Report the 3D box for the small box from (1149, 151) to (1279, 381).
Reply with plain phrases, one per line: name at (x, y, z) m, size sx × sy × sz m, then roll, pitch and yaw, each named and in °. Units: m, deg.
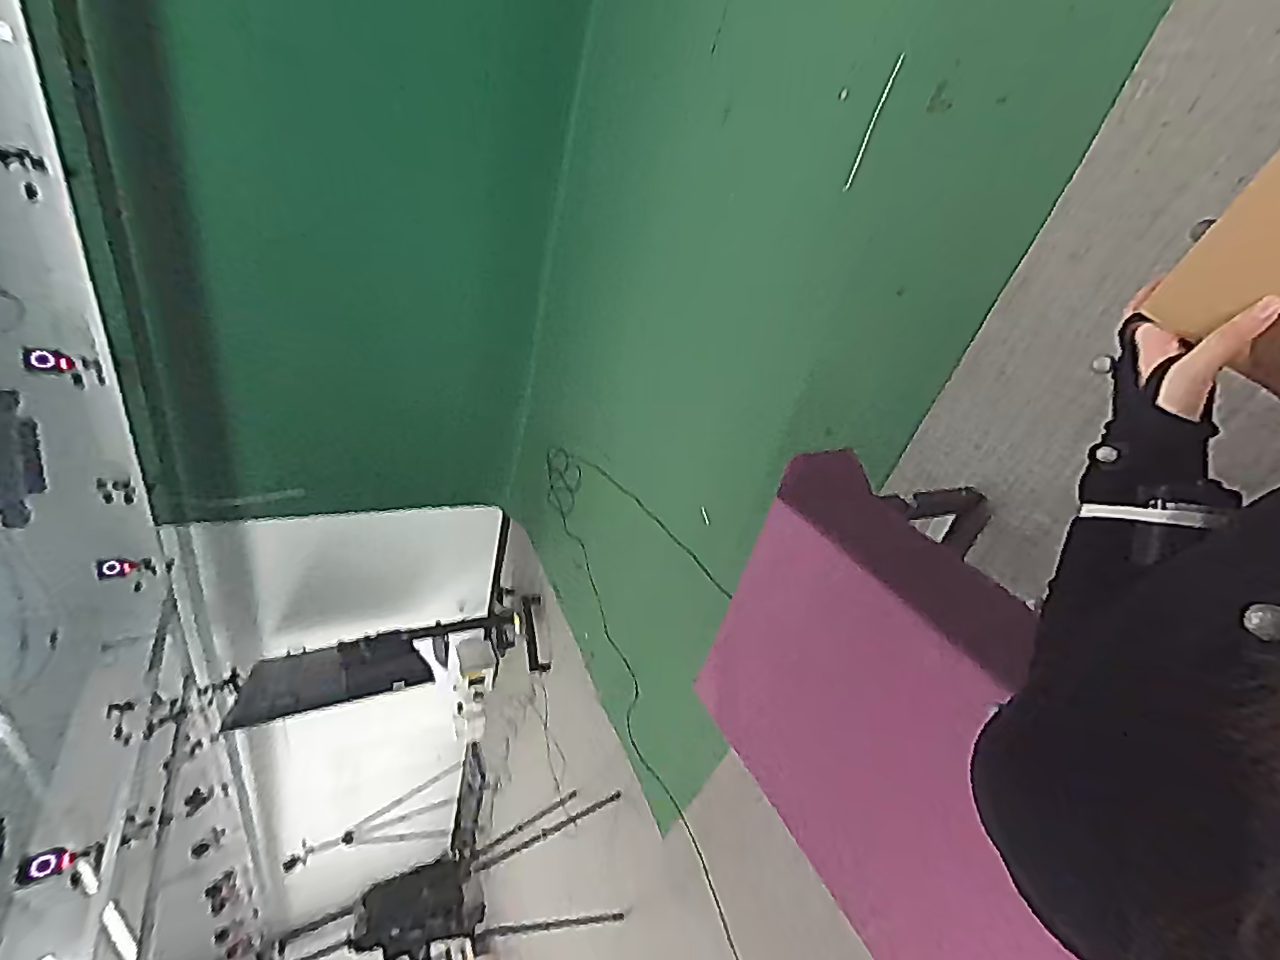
small box at (0.490, -0.160, 0.318) m, size 0.168 × 0.176 × 0.179 m, roll 56°, pitch 164°, yaw 28°
